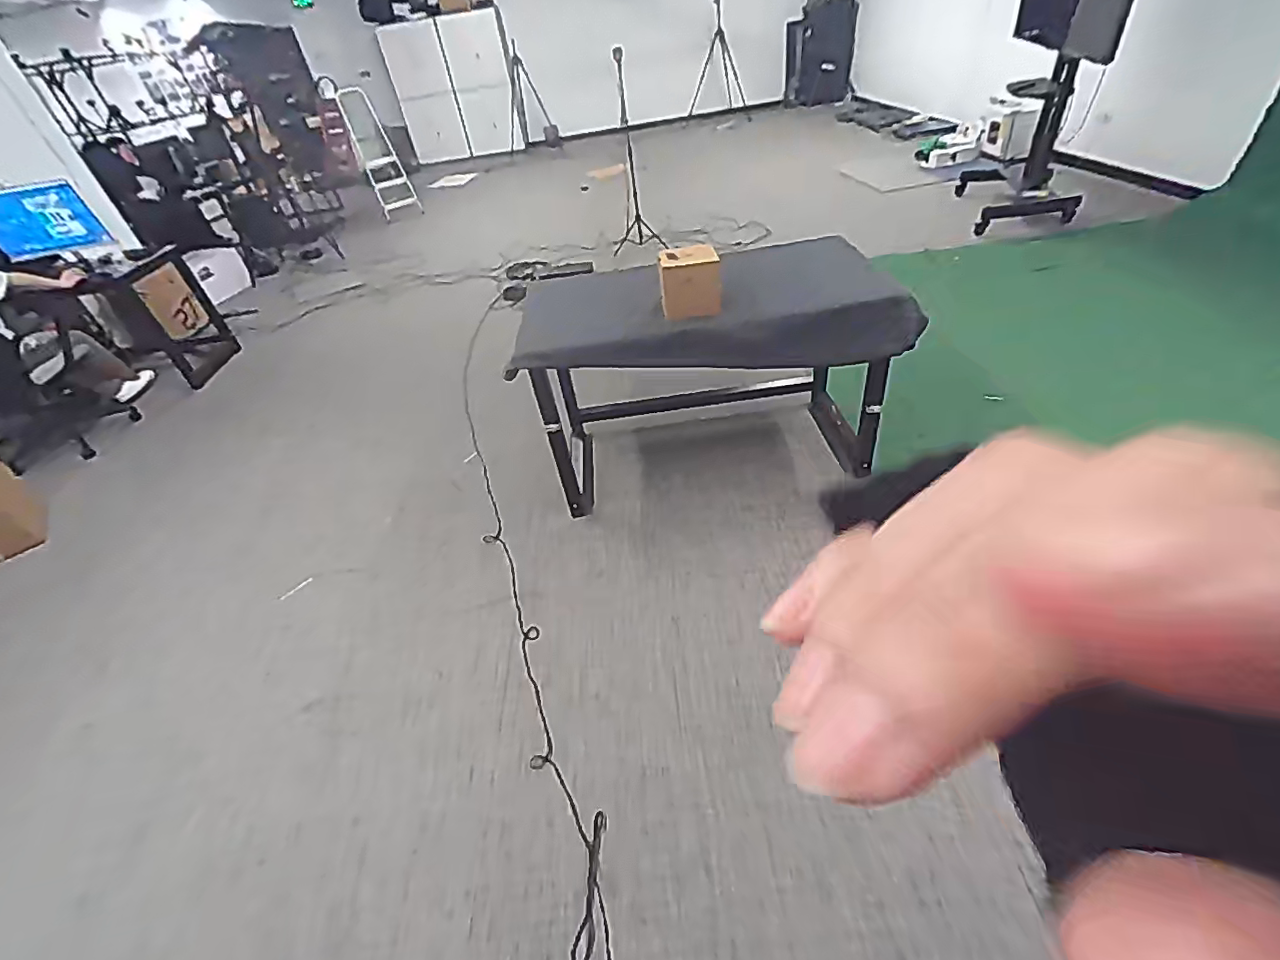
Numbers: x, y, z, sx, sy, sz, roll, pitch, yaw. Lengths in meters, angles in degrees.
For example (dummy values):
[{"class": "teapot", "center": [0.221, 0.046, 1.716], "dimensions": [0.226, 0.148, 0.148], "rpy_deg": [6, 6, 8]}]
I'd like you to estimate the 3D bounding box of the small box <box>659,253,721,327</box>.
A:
[{"class": "small box", "center": [0.159, -0.601, 1.721], "dimensions": [0.179, 0.176, 0.168], "rpy_deg": [-7, 40, 2]}]
